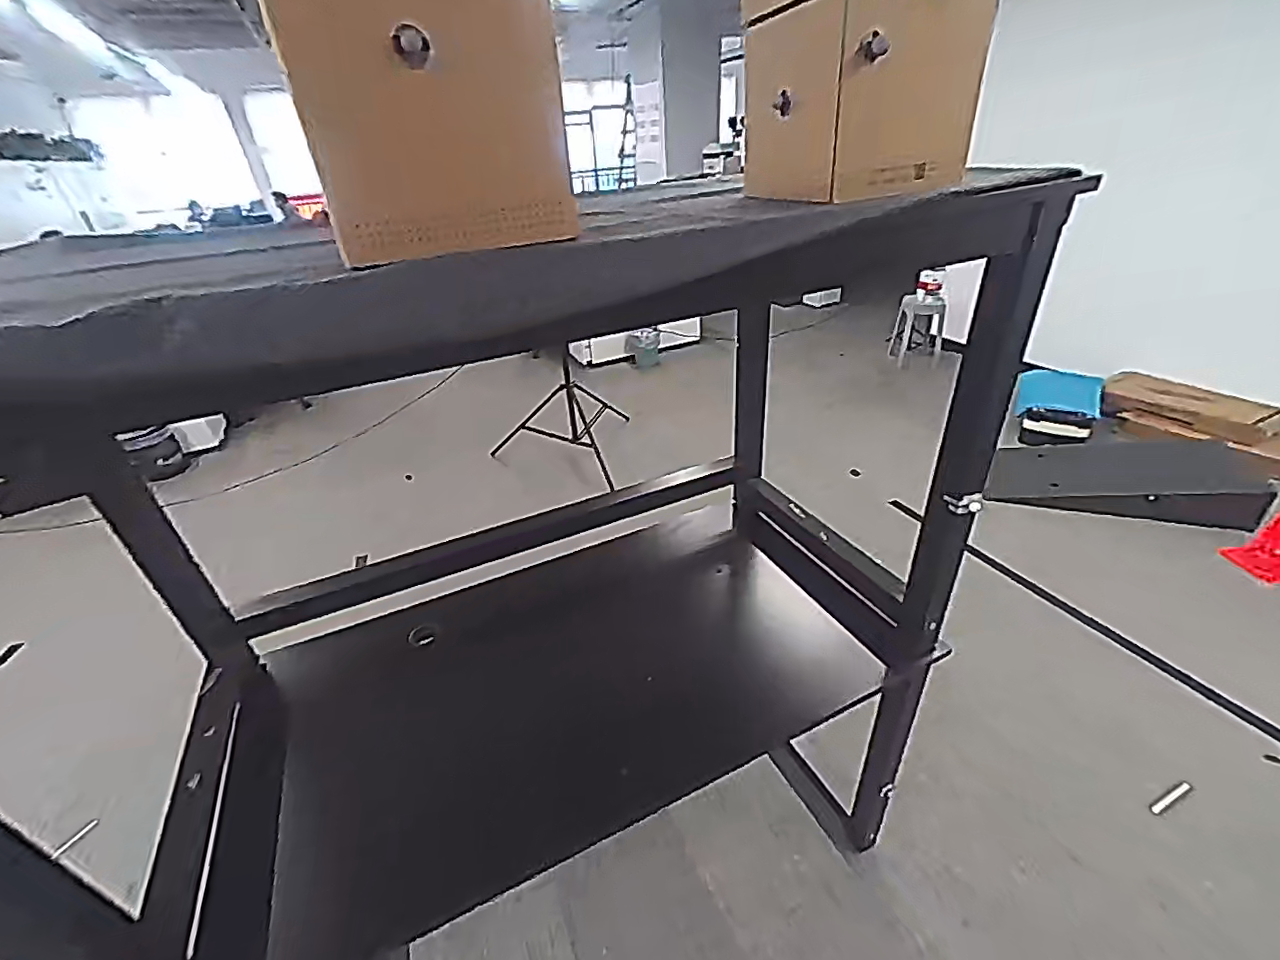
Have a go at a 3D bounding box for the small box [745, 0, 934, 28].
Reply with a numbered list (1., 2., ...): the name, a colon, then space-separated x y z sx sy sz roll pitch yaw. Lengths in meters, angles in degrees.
1. small box: 0.205 -0.536 0.491 0.168 0.176 0.179 -16 33 -15

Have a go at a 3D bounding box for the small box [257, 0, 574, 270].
1. small box: -0.169 -0.272 0.431 0.179 0.176 0.168 -18 32 -22
